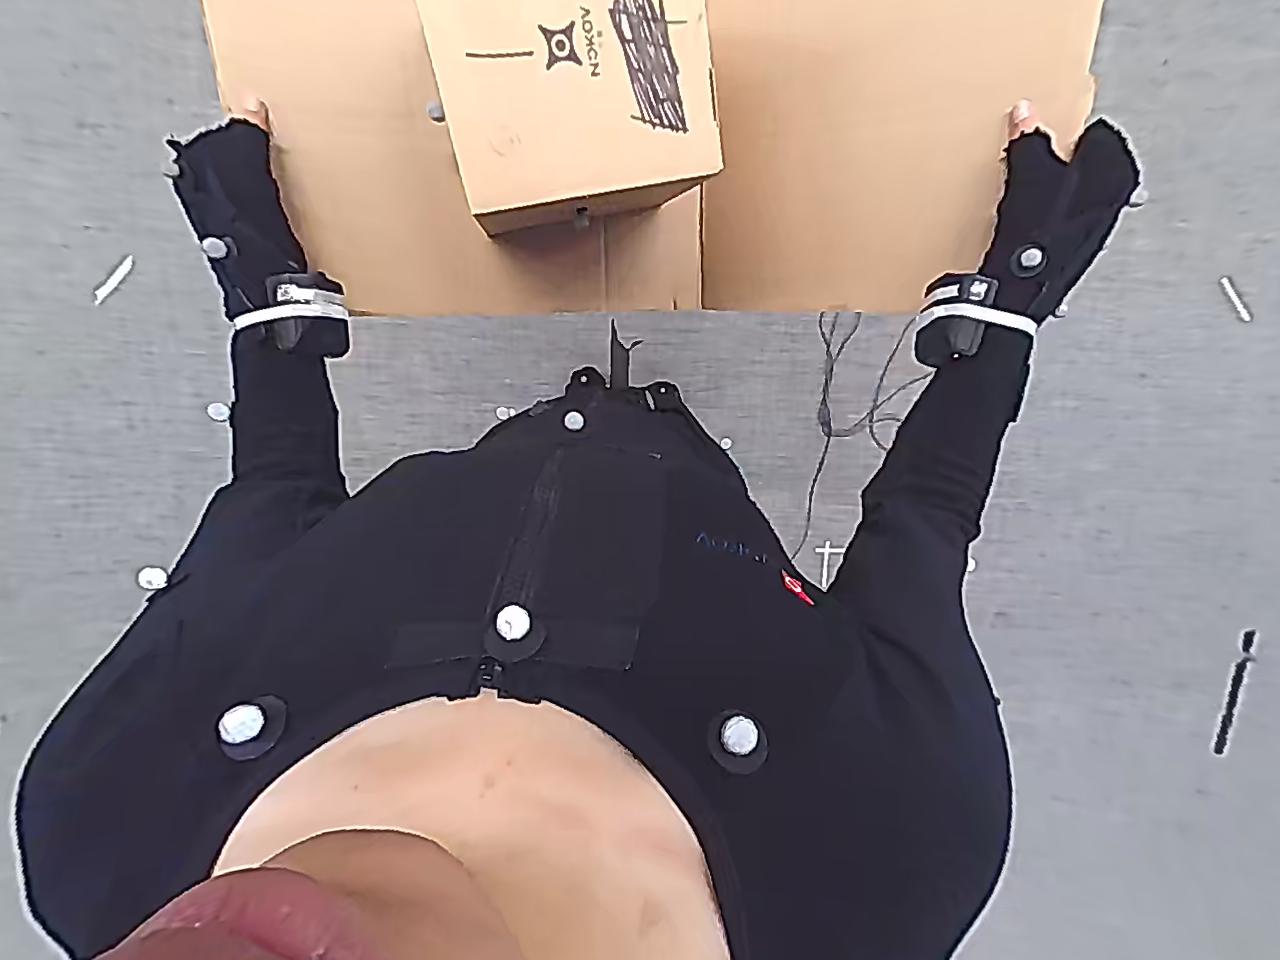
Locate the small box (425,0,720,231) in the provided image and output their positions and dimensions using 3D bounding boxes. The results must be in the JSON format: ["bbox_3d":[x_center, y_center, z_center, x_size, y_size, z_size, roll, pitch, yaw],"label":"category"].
[{"bbox_3d":[-0.054,-0.298,0.416,0.179,0.176,0.168,-13,112,-7],"label":"small box"}]
